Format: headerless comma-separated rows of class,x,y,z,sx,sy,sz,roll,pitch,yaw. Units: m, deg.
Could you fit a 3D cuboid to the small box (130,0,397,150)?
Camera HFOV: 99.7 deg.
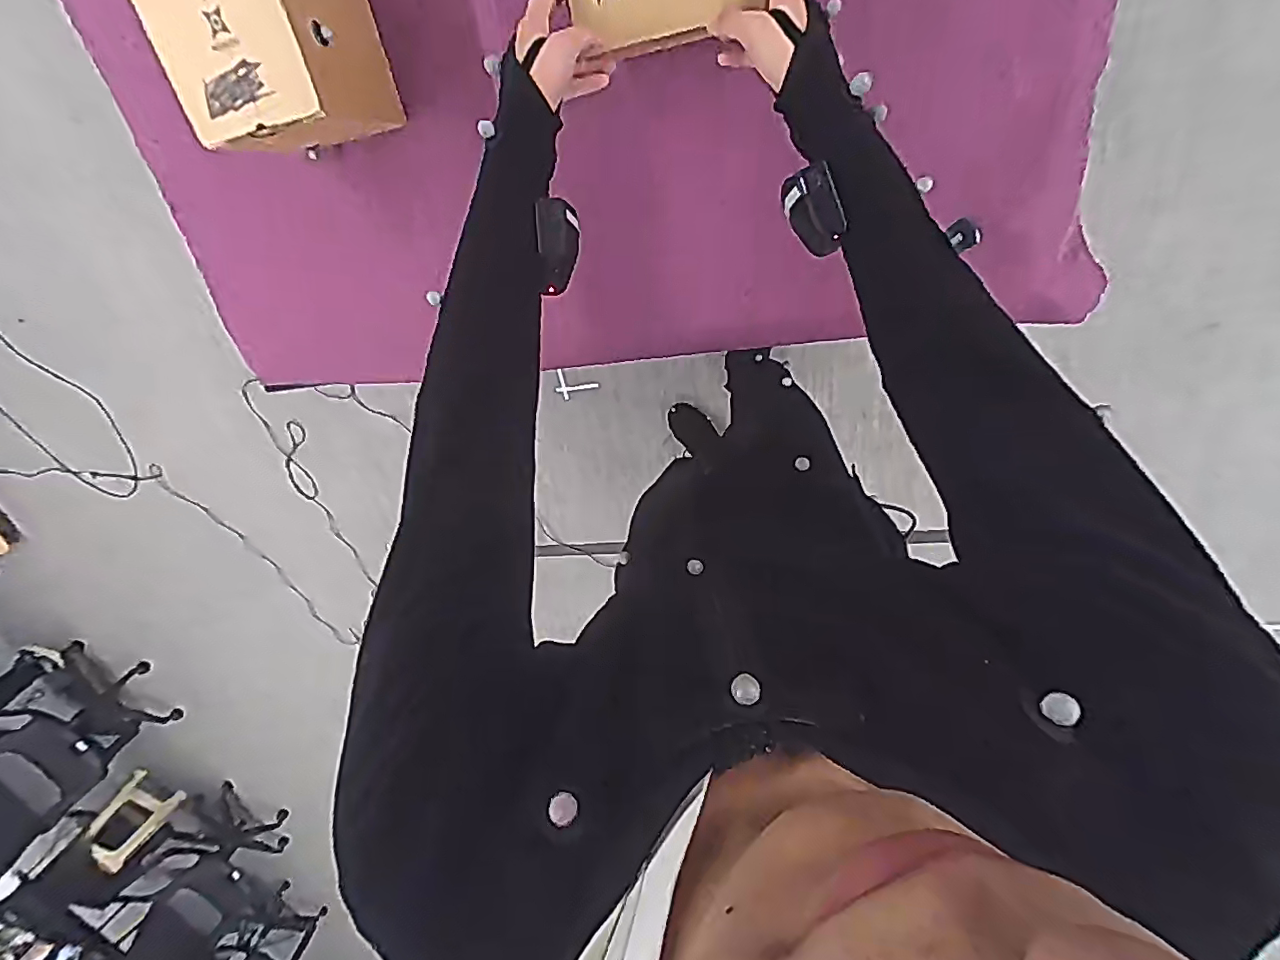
small box,-0.416,-0.494,0.619,0.168,0.176,0.179,-5,118,13

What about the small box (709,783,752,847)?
small box,0.402,1.472,2.378,0.168,0.176,0.179,-5,115,13
